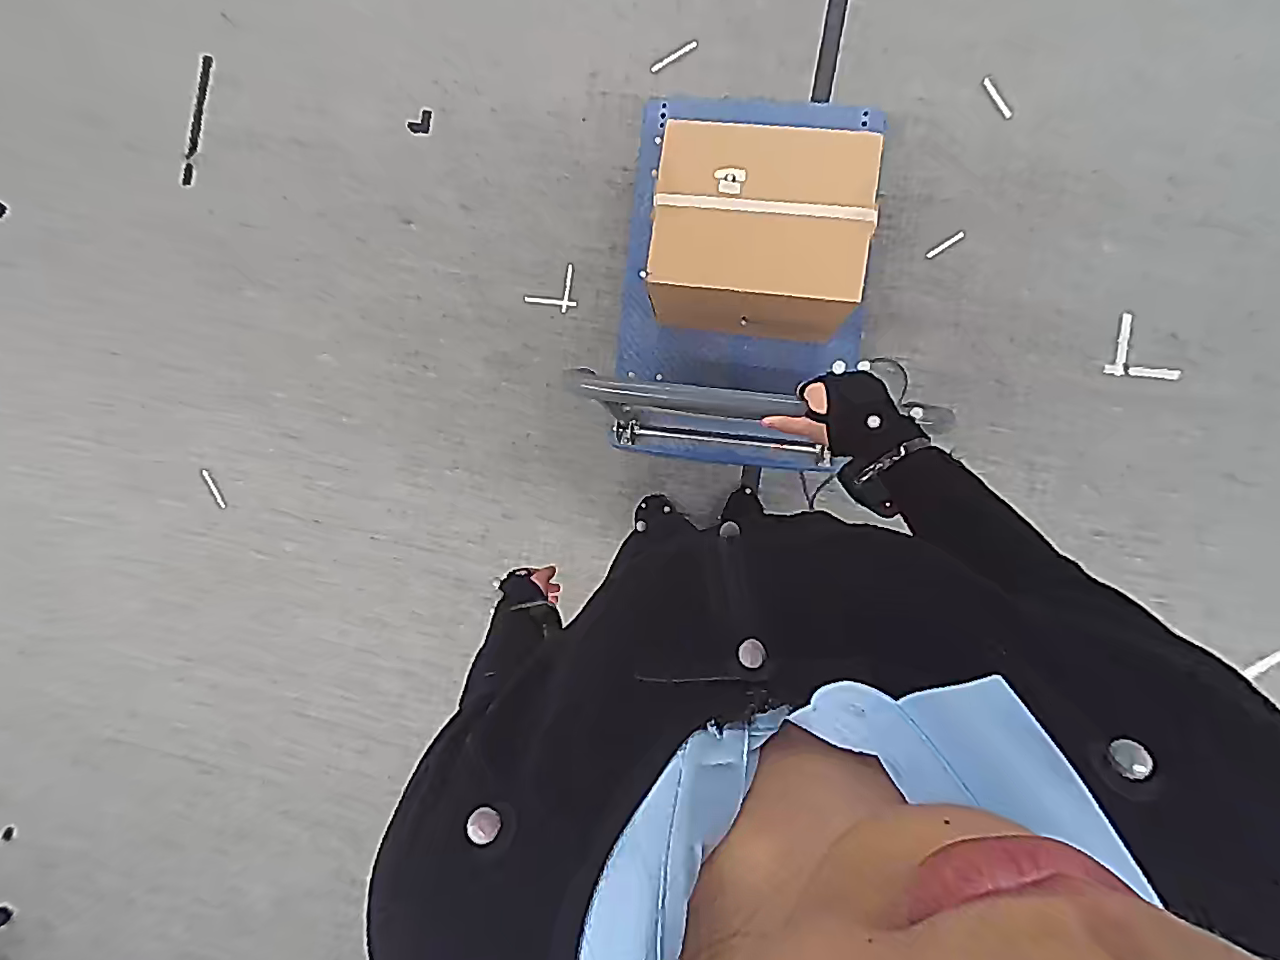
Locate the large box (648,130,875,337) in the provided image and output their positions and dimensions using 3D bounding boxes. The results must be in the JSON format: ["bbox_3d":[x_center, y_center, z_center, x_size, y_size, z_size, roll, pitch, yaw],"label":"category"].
[{"bbox_3d":[0.248,-0.511,1.175,0.408,0.320,0.320,7,90,8],"label":"large box"}]
